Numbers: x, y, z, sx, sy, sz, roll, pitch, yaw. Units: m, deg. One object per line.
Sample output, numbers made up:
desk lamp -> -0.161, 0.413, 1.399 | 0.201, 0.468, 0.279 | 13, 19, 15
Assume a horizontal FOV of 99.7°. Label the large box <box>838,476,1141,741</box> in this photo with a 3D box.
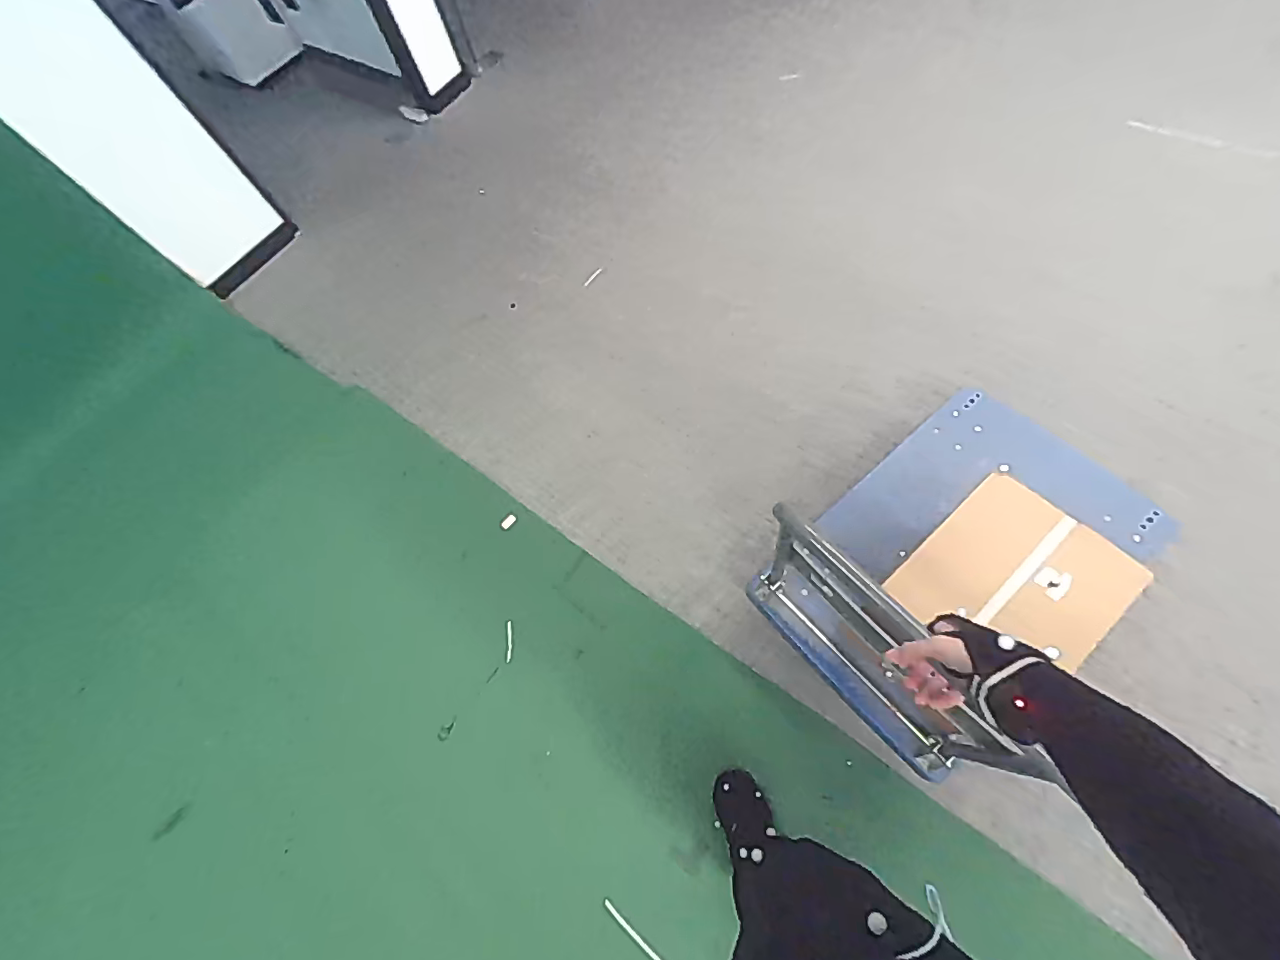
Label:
large box -> 0.686, 0.277, 1.132 | 0.408, 0.320, 0.320 | -41, 66, -11
